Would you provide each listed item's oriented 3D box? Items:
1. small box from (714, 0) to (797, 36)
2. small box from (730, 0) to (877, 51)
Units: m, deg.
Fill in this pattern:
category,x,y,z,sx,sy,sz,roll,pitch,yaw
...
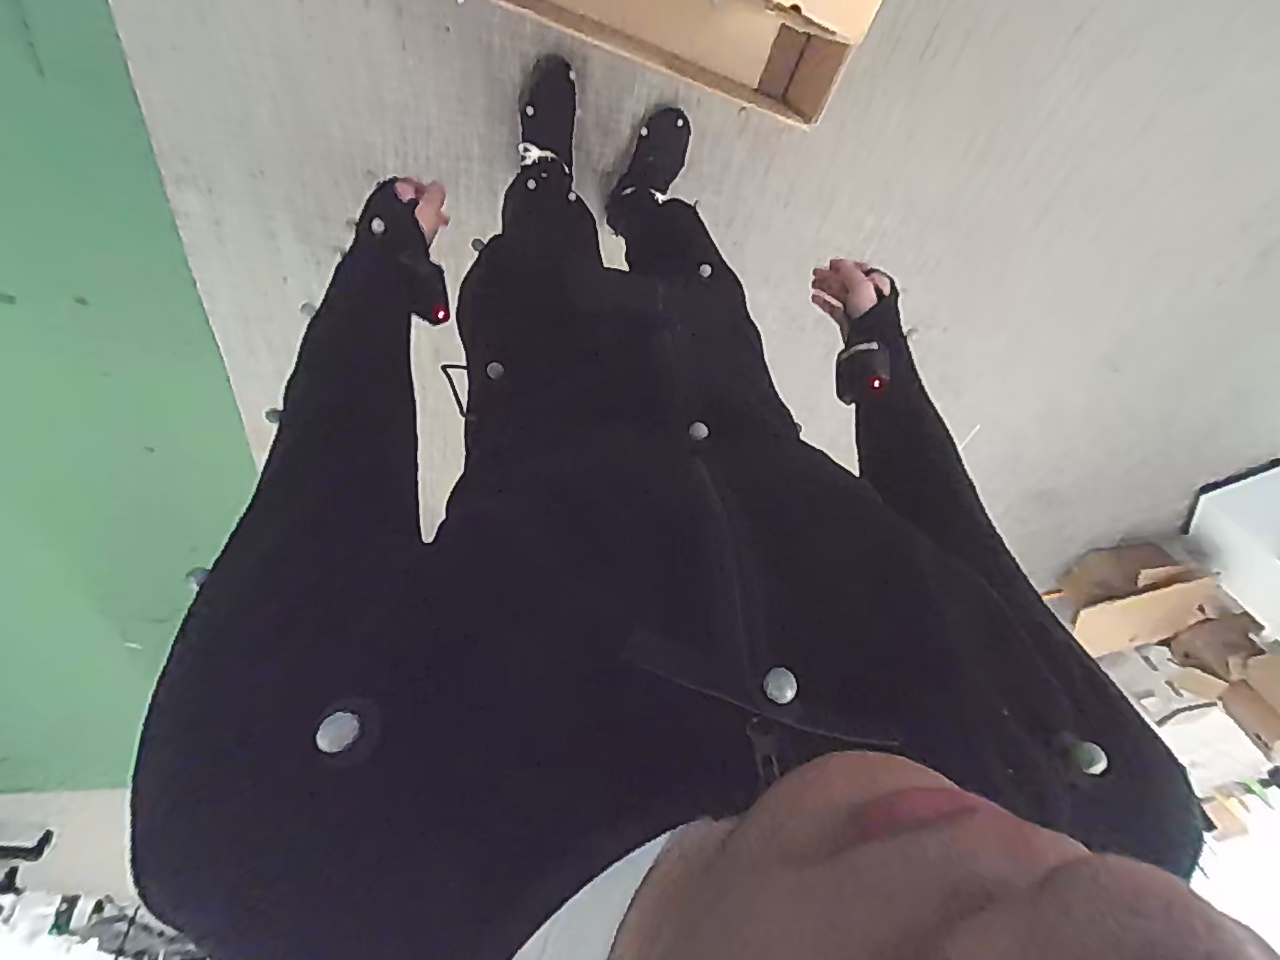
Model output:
category,x,y,z,sx,sy,sz,roll,pitch,yaw
small box,0.146,-0.693,0.666,0.168,0.176,0.179,9,131,-18
small box,0.166,-0.580,0.549,0.168,0.176,0.179,9,131,-18
